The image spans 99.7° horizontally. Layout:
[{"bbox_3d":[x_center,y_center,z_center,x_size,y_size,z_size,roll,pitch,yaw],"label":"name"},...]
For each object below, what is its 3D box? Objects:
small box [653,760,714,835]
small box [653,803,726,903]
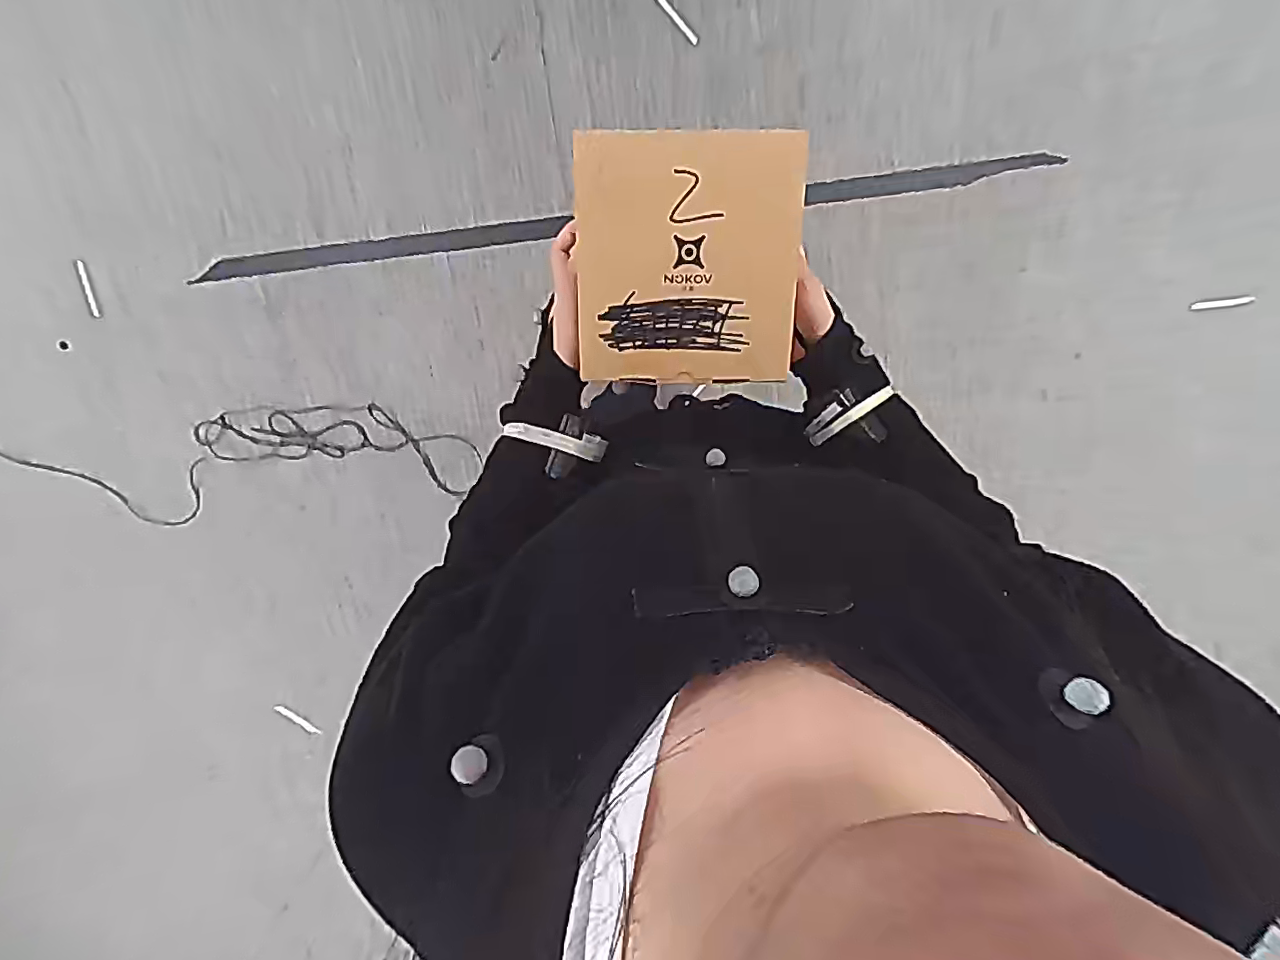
[{"bbox_3d":[0.127,0.980,1.646,0.179,0.176,0.168,-1,102,0],"label":"small box"},{"bbox_3d":[0.130,1.023,1.487,0.179,0.176,0.168,2,101,-1],"label":"small box"}]
